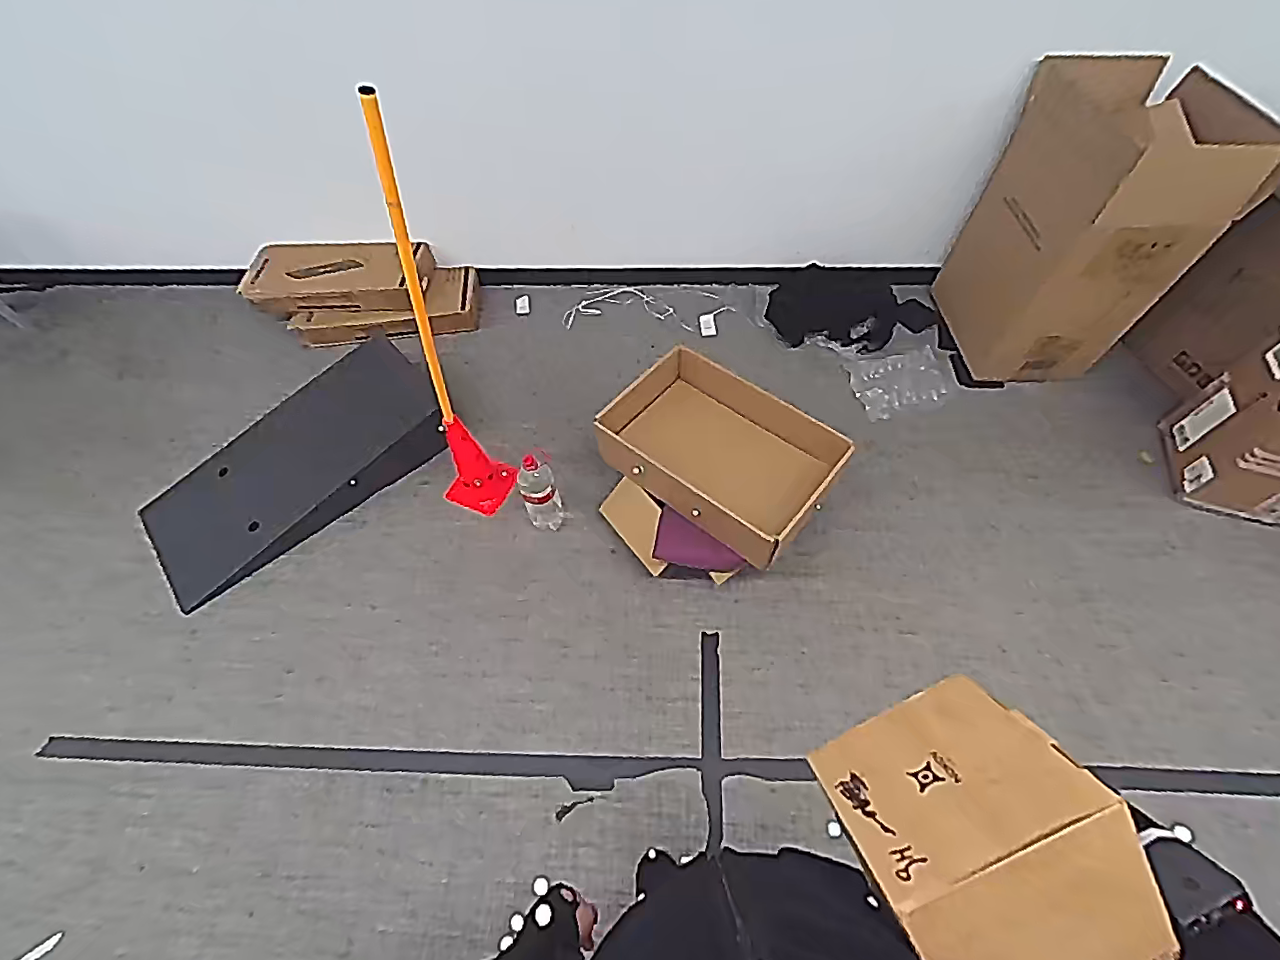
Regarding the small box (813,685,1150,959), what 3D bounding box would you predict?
[{"bbox_3d":[0.289,0.326,0.476,0.179,0.168,0.176,-27,100,0],"label":"small box"}]
